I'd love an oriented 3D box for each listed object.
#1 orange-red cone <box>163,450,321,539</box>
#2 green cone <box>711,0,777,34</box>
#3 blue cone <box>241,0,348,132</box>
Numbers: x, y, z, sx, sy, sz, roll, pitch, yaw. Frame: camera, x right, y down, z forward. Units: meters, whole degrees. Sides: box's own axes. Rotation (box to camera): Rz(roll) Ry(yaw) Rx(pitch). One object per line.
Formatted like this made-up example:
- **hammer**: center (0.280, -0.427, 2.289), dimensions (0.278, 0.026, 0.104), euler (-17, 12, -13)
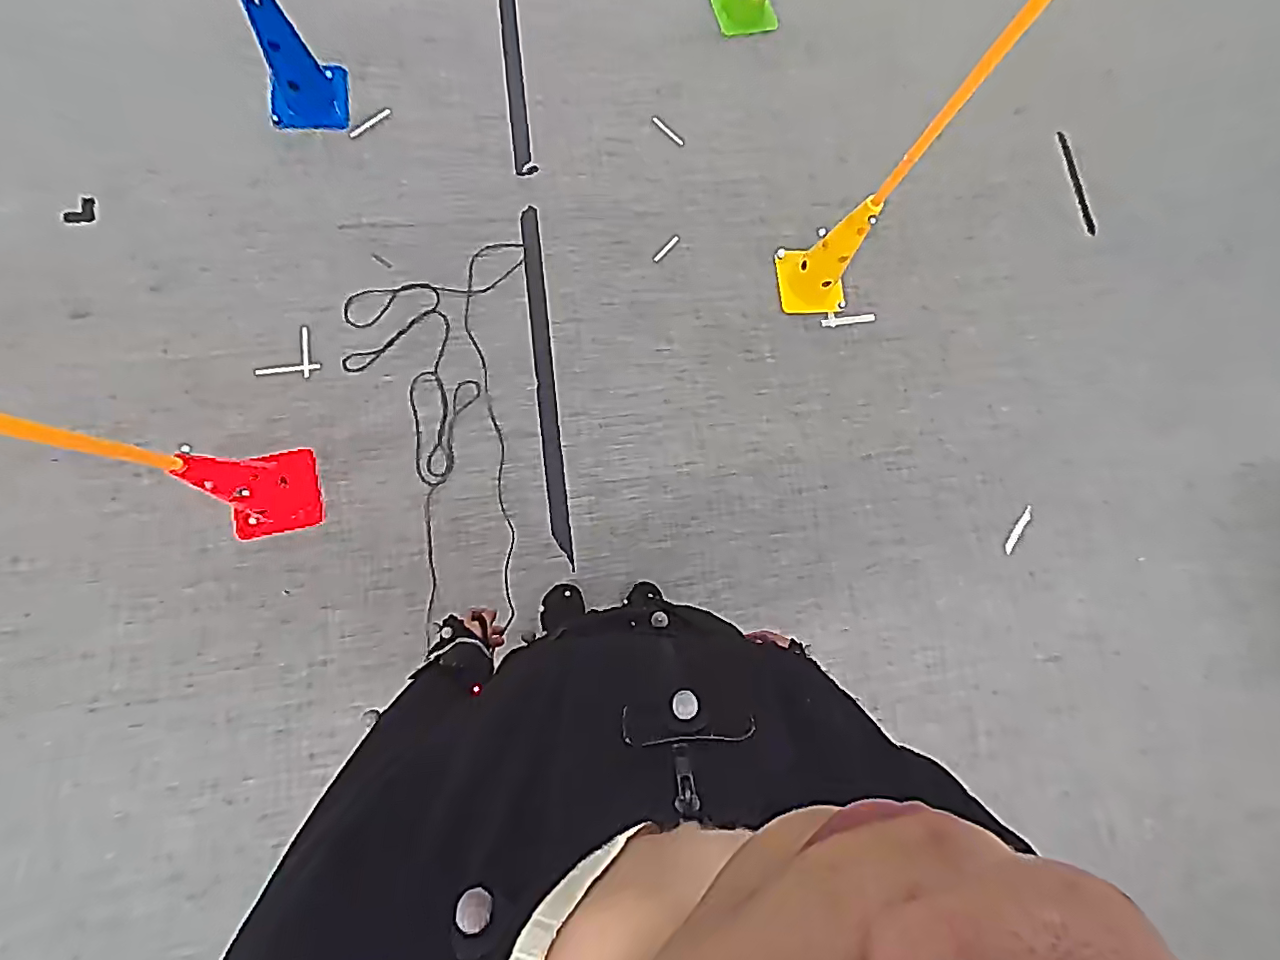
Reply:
- **orange-red cone**: center (-0.861, 0.003, 1.142), dimensions (0.199, 0.360, 0.198), euler (-11, 82, -11)
- **green cone**: center (0.354, -1.575, 1.590), dimensions (0.200, 0.368, 0.202), euler (-17, 84, -10)
- **blue cone**: center (-0.898, -1.088, 1.349), dimensions (0.193, 0.380, 0.192), euler (-4, 81, -8)
